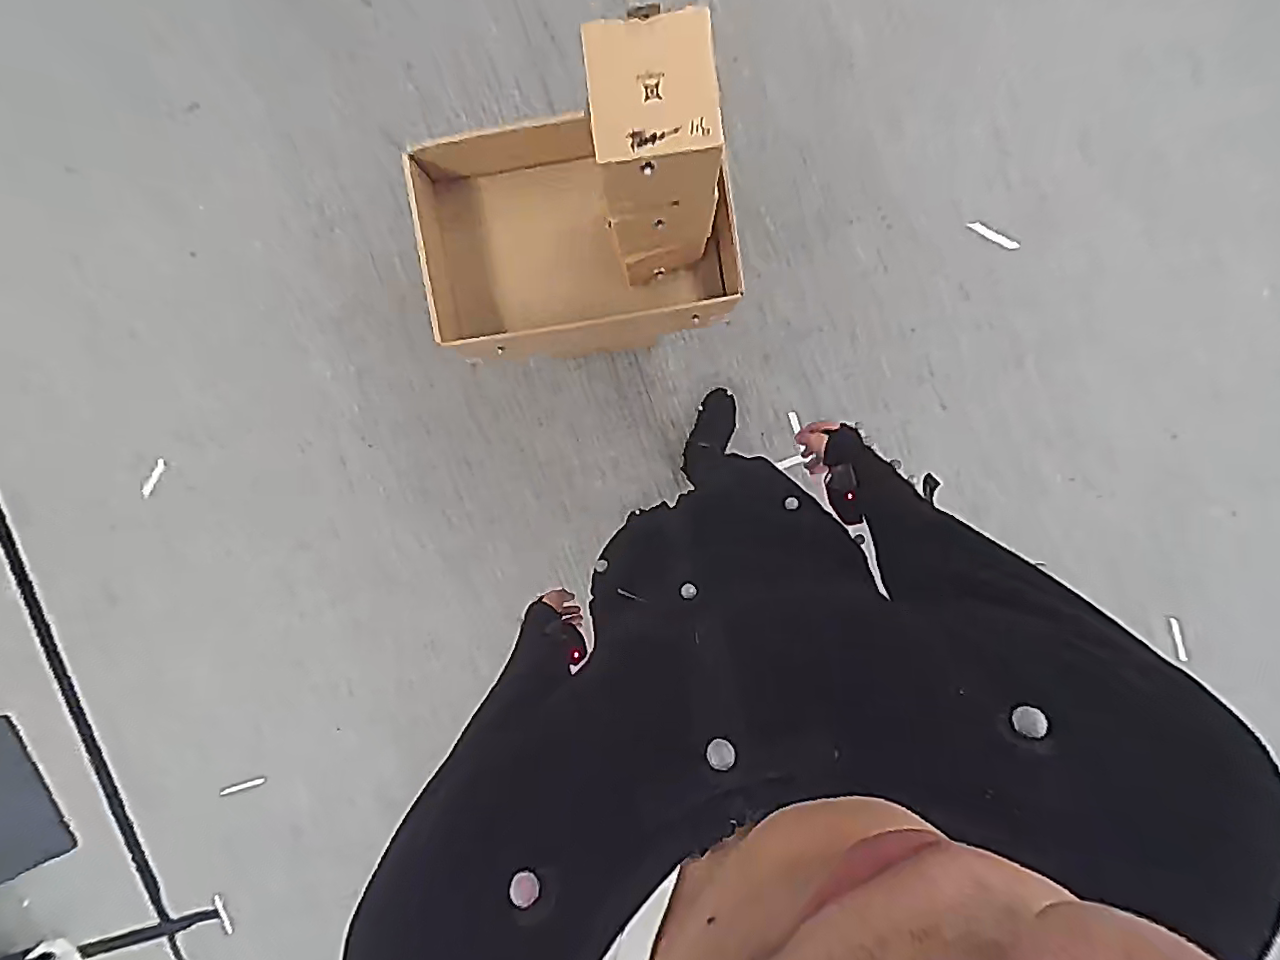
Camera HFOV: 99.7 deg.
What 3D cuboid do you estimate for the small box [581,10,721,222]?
[{"bbox_3d":[0.017,-0.492,0.756,0.168,0.176,0.179,-6,92,4],"label":"small box"}]

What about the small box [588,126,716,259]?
[{"bbox_3d":[0.023,-0.498,0.920,0.179,0.176,0.168,-12,93,3],"label":"small box"}]
